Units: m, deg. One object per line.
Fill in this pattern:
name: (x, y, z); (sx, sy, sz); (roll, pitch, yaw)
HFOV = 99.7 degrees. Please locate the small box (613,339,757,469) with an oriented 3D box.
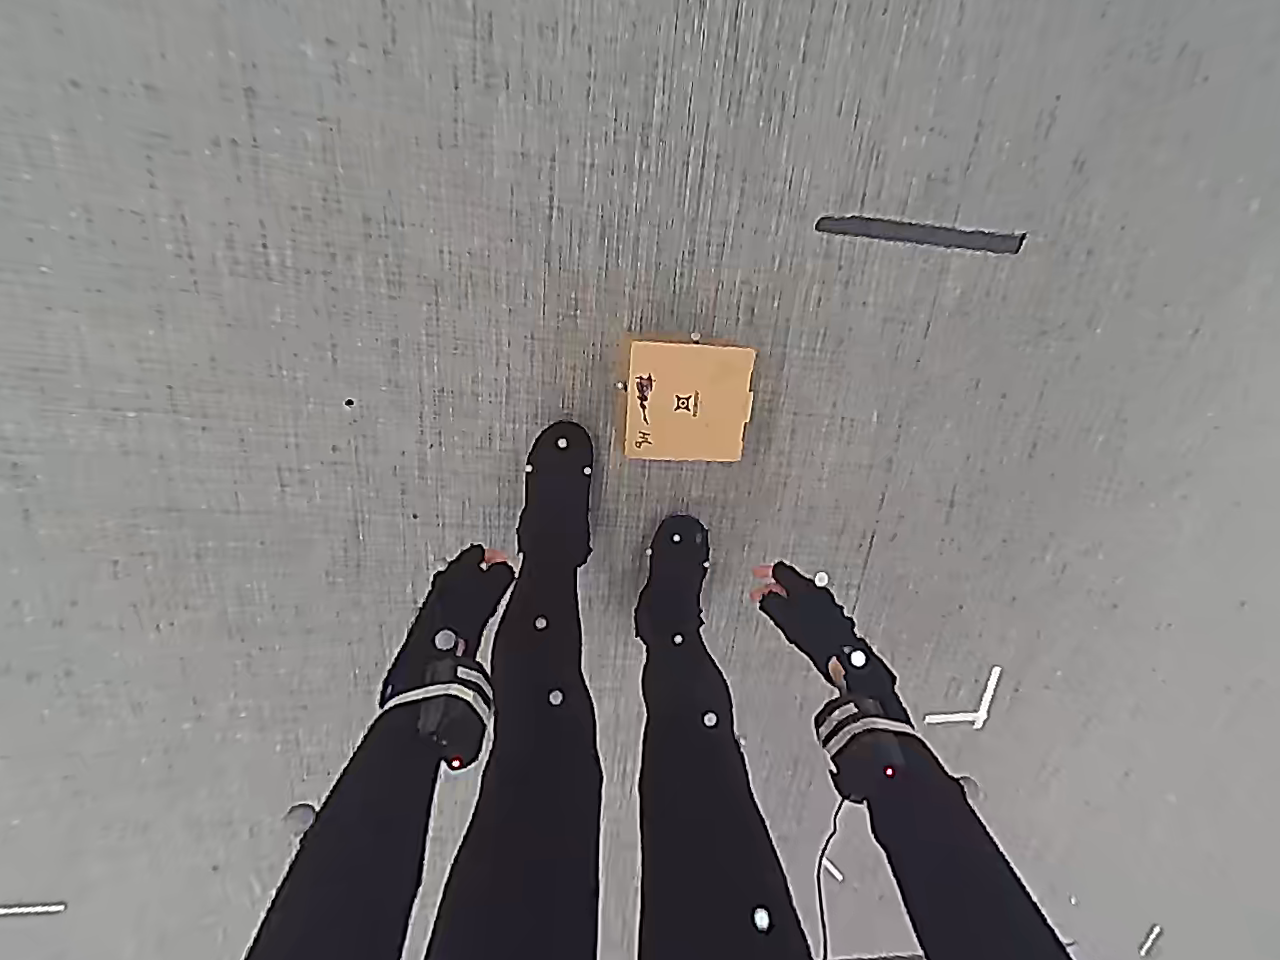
small box: (0.058, -0.122, 0.828); (0.179, 0.176, 0.168); (2, 109, -8)
